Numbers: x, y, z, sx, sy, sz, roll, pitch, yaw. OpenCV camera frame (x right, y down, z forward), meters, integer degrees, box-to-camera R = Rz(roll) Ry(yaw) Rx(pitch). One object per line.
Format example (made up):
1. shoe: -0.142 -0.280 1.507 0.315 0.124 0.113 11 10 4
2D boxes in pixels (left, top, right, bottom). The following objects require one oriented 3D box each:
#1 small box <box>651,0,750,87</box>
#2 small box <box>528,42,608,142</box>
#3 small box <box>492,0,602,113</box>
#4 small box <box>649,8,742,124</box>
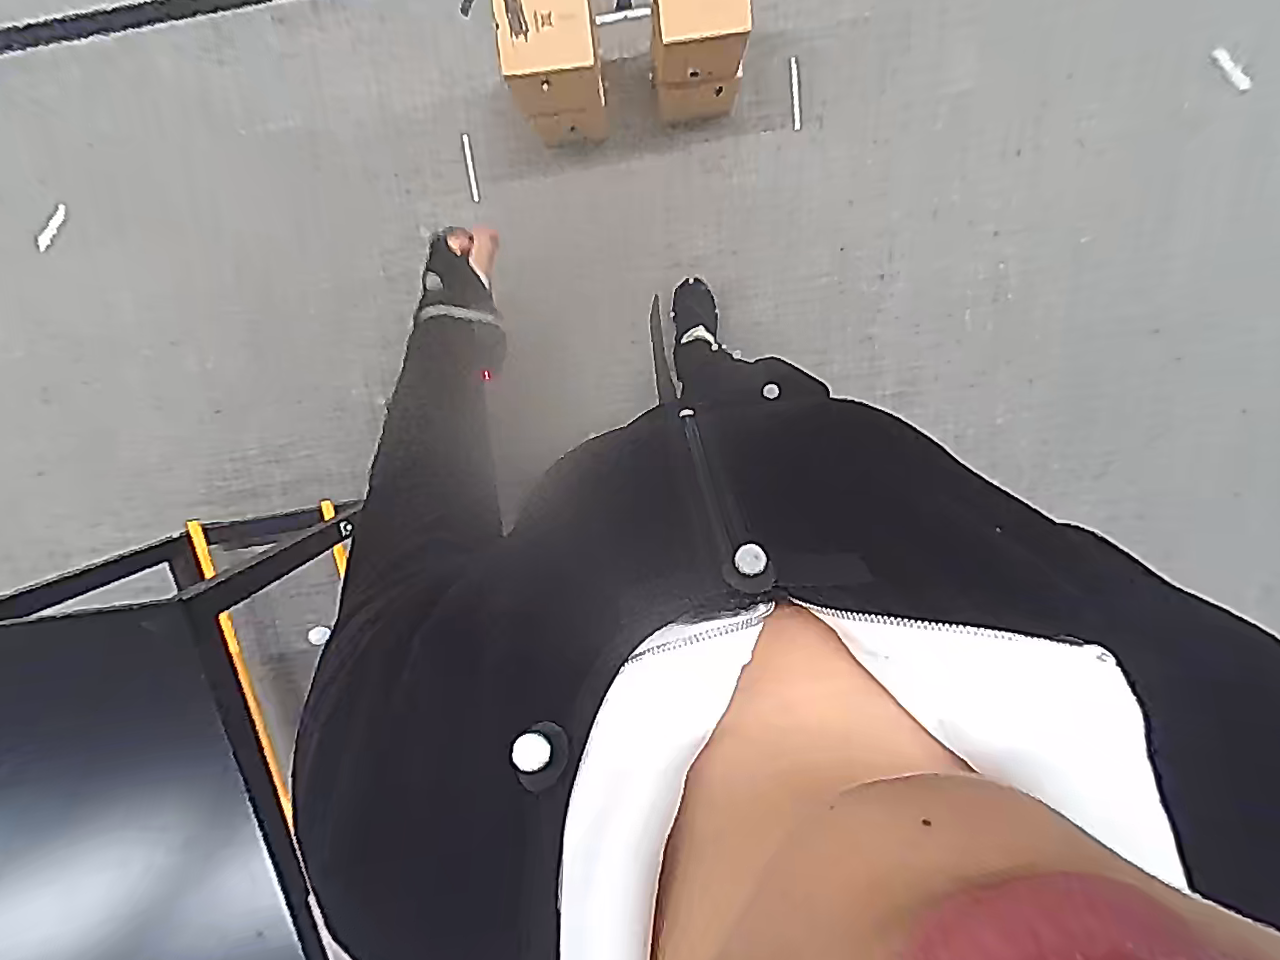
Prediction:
1. small box: 0.111 -0.906 1.046 0.168 0.176 0.179 -7 104 3
2. small box: -0.166 -0.887 1.218 0.168 0.176 0.179 -6 103 2
3. small box: -0.176 -0.847 1.056 0.179 0.176 0.168 -4 102 2
4. small box: 0.118 -0.930 1.207 0.179 0.176 0.168 -9 102 2
